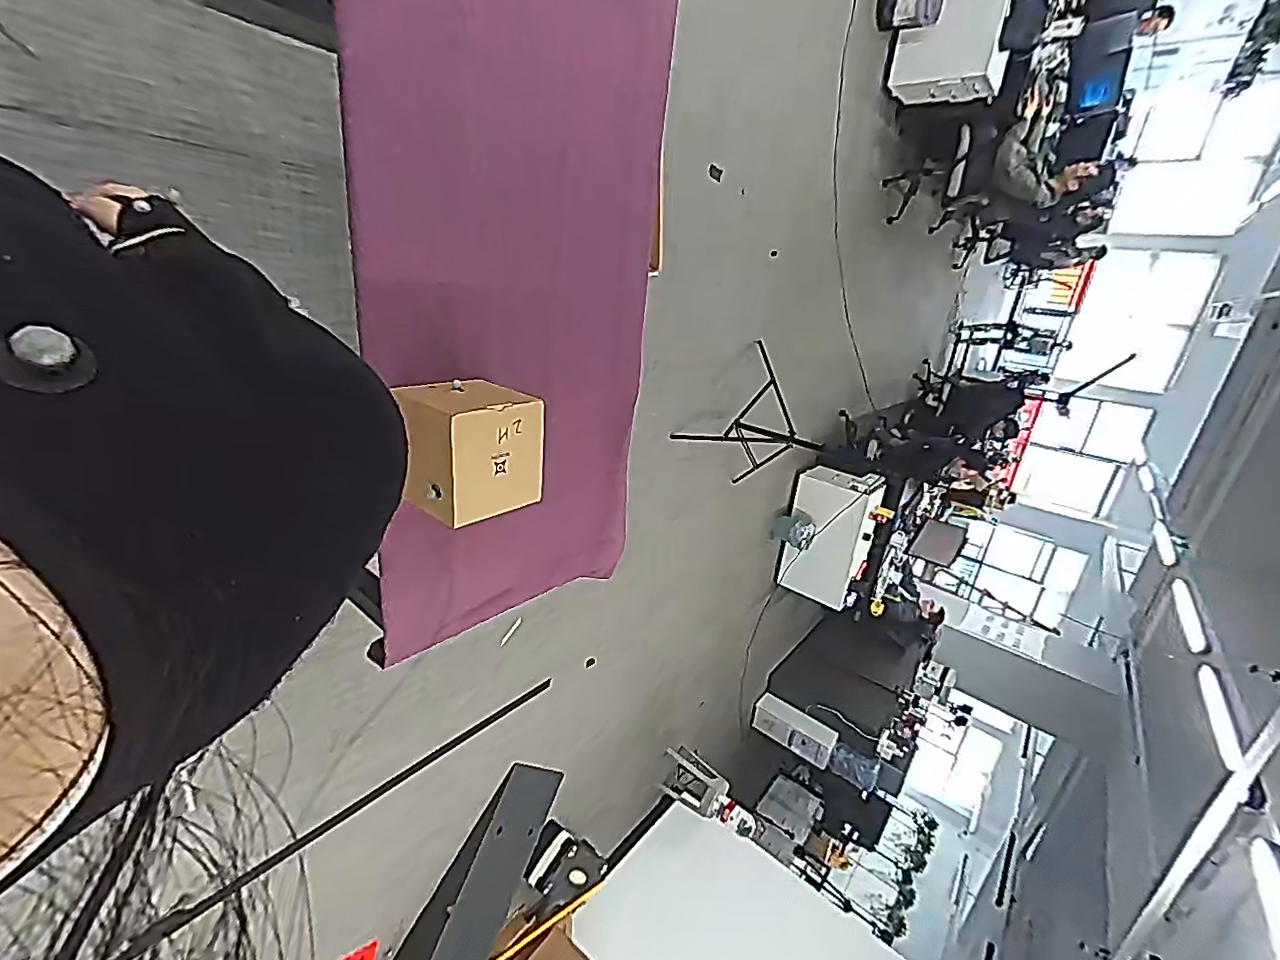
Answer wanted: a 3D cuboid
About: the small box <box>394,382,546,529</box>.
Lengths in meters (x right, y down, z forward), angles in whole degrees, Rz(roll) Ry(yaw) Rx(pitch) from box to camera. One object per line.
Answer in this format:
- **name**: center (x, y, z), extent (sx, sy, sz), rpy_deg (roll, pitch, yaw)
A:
- **small box**: center (-0.269, -0.049, 0.859), extent (0.168, 0.176, 0.179), rpy_deg (-20, 122, -48)
